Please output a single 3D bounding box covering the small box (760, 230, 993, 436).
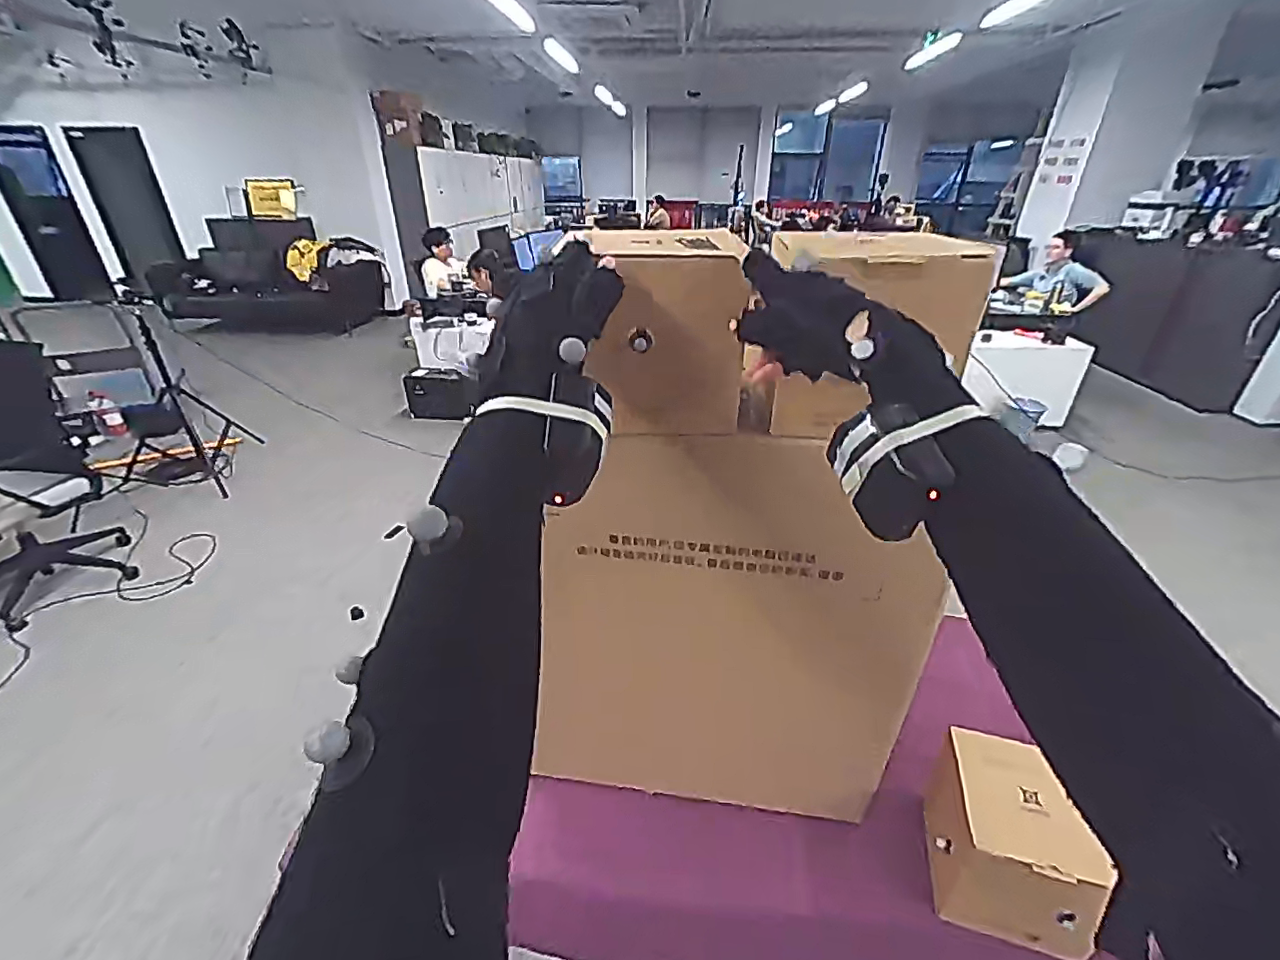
[{"bbox_3d":[0.219,-0.155,0.557,0.168,0.176,0.179,4,31,6],"label":"small box"}]

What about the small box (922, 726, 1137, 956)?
[{"bbox_3d":[0.492,0.472,0.717,0.168,0.176,0.179,10,29,15],"label":"small box"}]
